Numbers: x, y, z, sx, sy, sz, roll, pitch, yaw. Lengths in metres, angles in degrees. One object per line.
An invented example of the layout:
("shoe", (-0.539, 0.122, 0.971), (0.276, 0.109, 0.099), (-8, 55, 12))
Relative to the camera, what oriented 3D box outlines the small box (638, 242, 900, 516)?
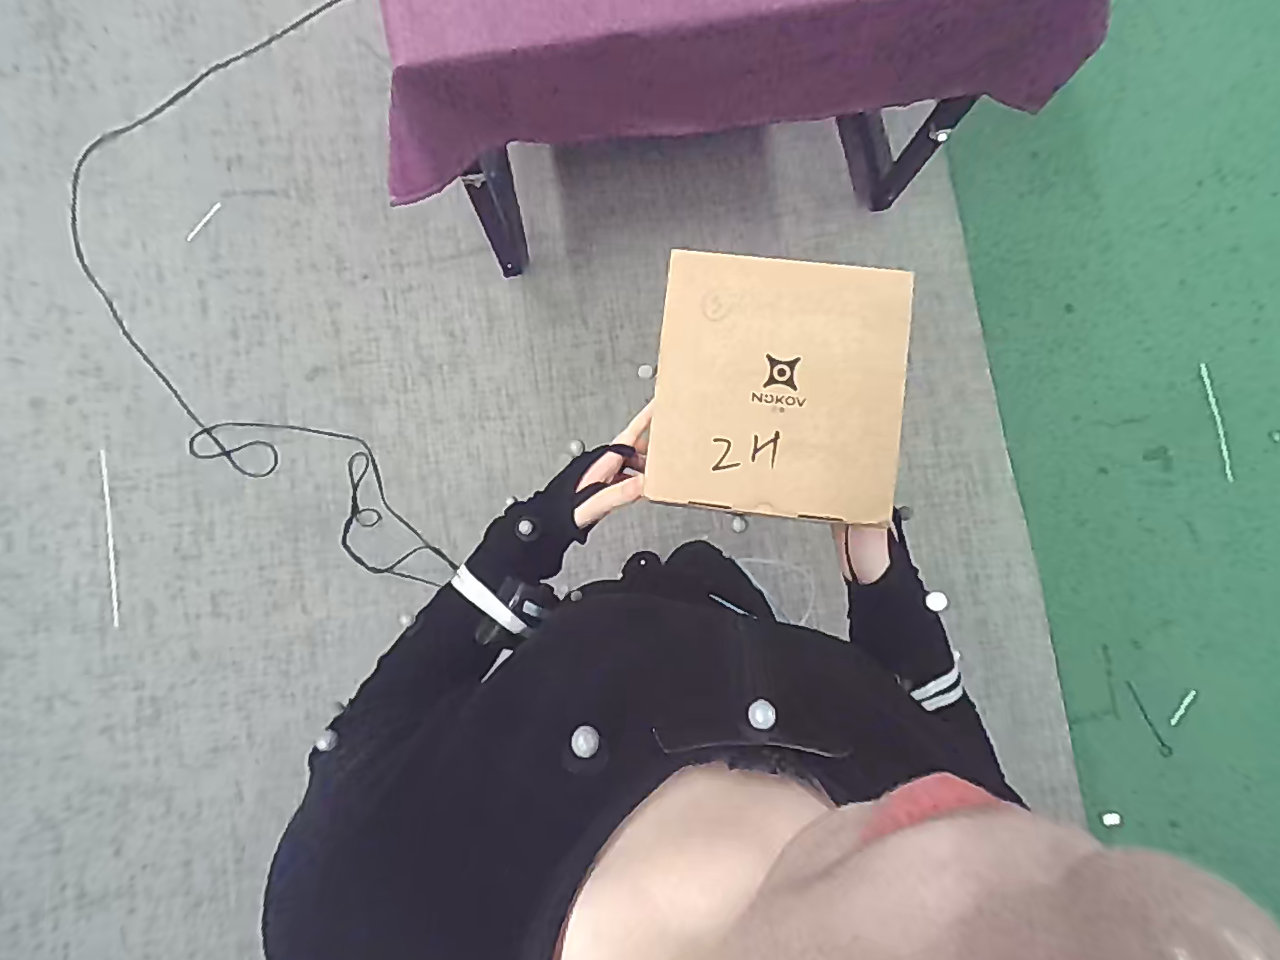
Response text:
("small box", (0.091, -0.065, 0.441), (0.168, 0.176, 0.179), (5, 87, 4))
